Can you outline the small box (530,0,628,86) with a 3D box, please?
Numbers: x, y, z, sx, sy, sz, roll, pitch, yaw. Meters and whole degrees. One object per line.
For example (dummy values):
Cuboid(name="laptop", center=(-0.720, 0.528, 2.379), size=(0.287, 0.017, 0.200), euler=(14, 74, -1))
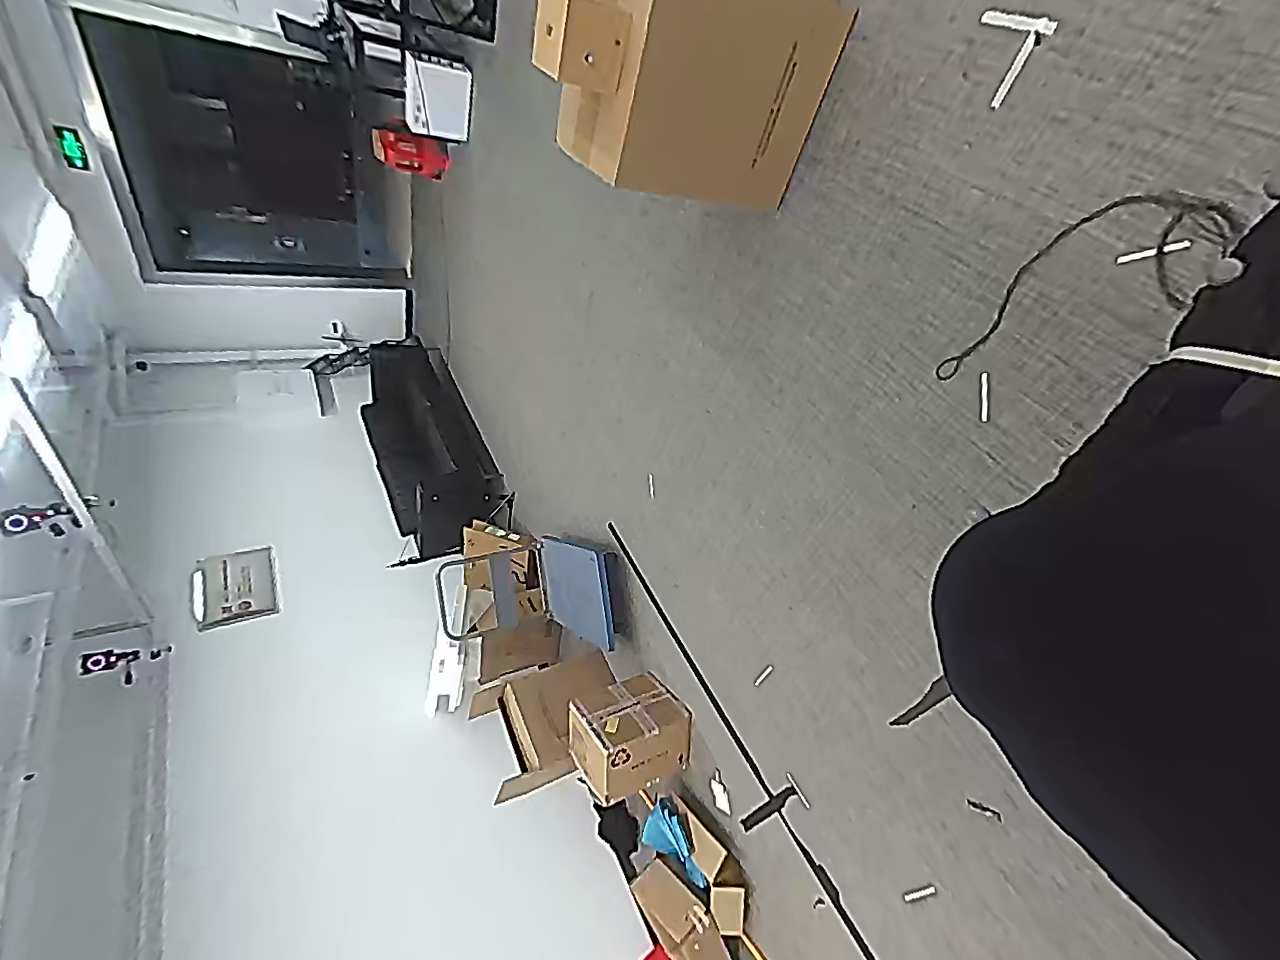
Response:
Cuboid(name="small box", center=(-0.148, -1.077, 1.301), size=(0.179, 0.176, 0.168), euler=(57, 143, 34))
